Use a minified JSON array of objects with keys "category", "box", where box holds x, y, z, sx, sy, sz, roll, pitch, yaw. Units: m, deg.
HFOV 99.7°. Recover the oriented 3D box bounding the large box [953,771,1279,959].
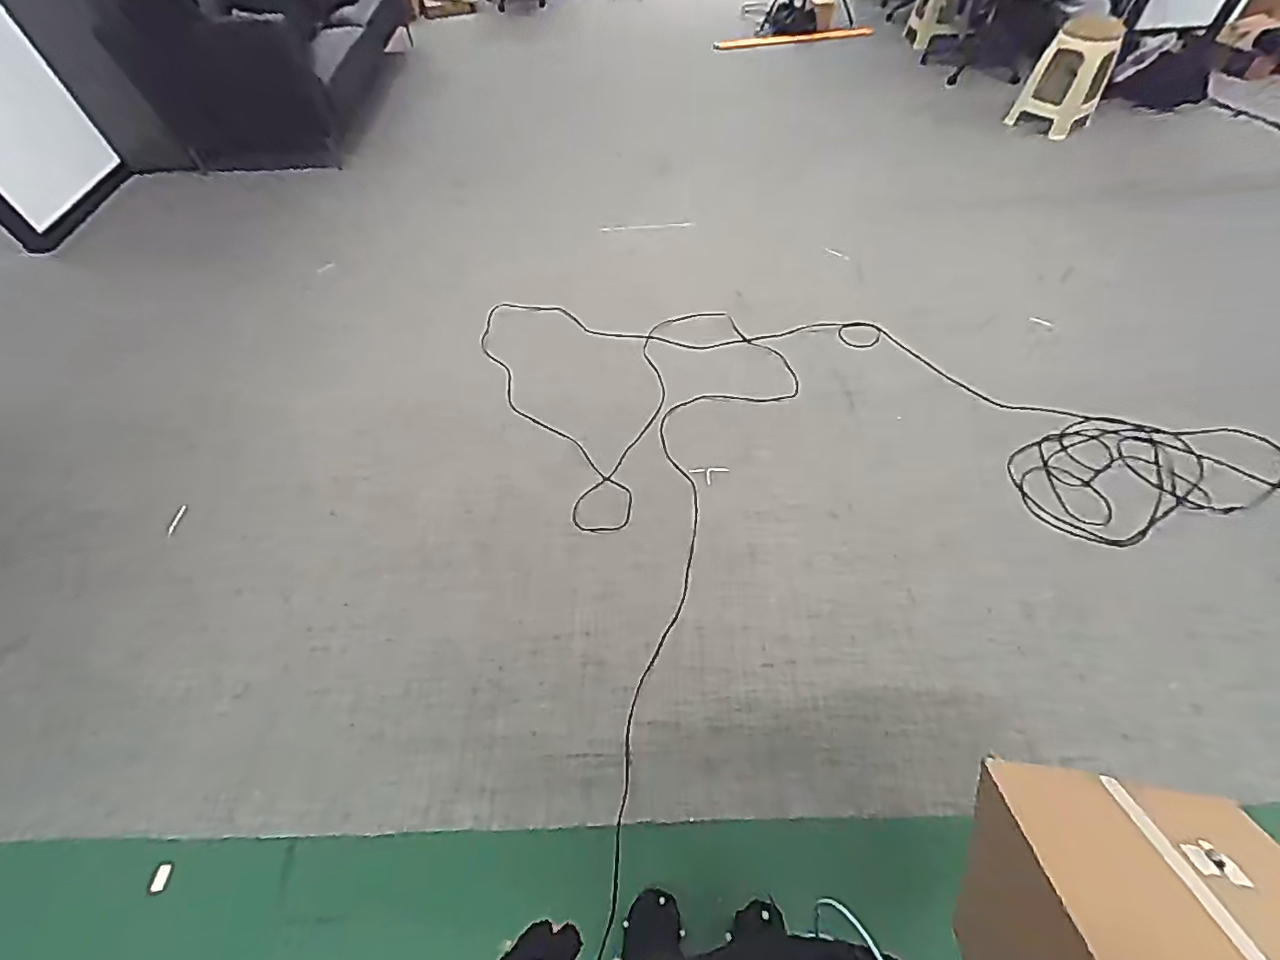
[{"category":"large box","box":[0.615,0.635,0.632,0.320,0.320,0.408,5,11,12]}]
